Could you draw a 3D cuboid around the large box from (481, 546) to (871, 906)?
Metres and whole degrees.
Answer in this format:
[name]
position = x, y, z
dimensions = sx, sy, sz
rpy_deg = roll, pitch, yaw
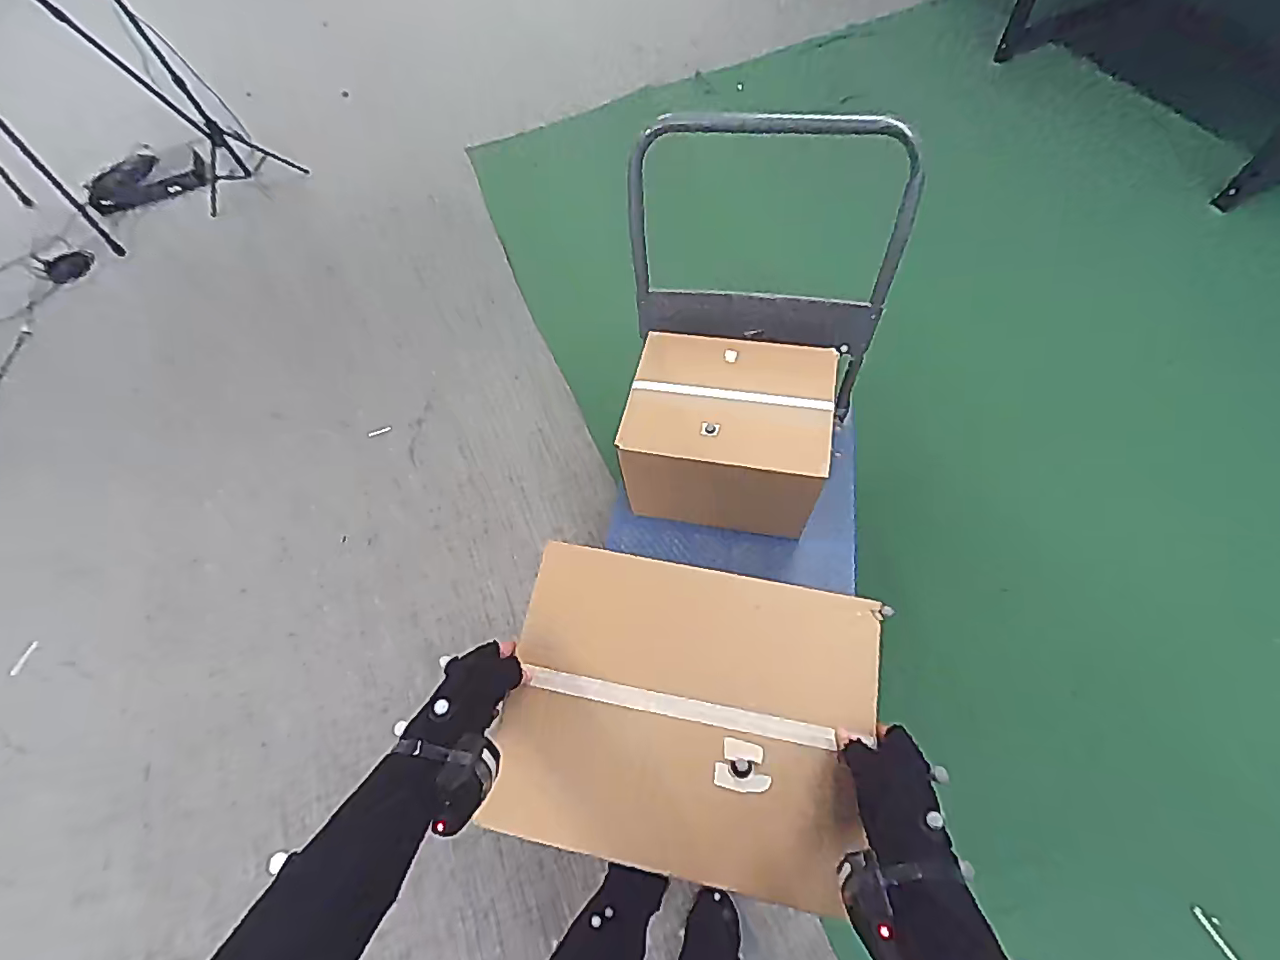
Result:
[large box]
position = 0.055, 0.309, 0.741
dimensions = 0.408, 0.320, 0.320
rpy_deg = 10, 68, 6
